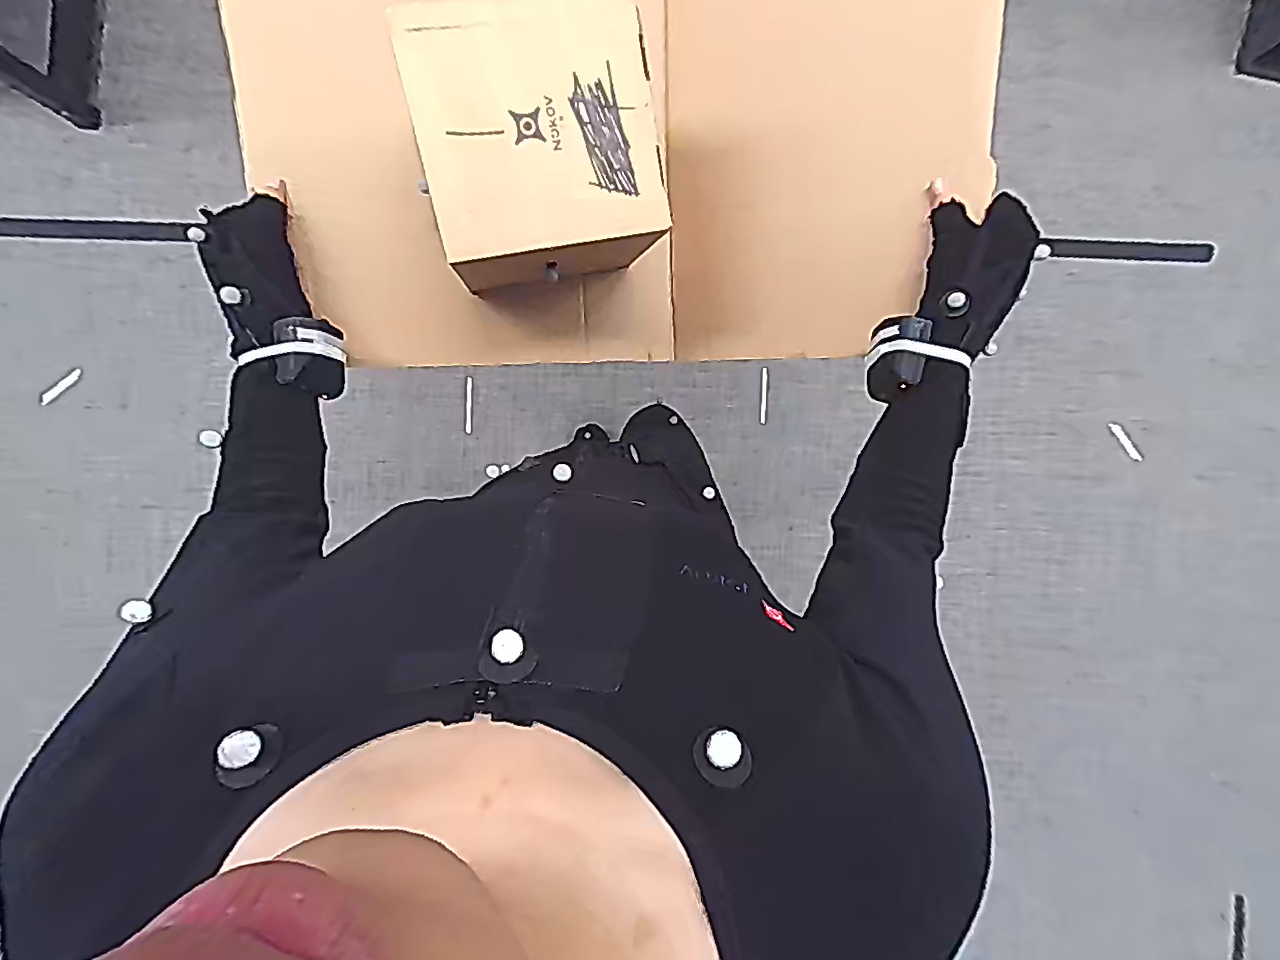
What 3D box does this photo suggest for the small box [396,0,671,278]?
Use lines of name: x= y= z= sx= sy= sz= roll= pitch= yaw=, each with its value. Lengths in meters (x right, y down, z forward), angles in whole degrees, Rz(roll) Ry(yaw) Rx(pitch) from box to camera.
small box: x=-0.088 y=-0.284 z=0.476 sx=0.179 sy=0.176 sz=0.168 roll=-13 pitch=105 yaw=-9
